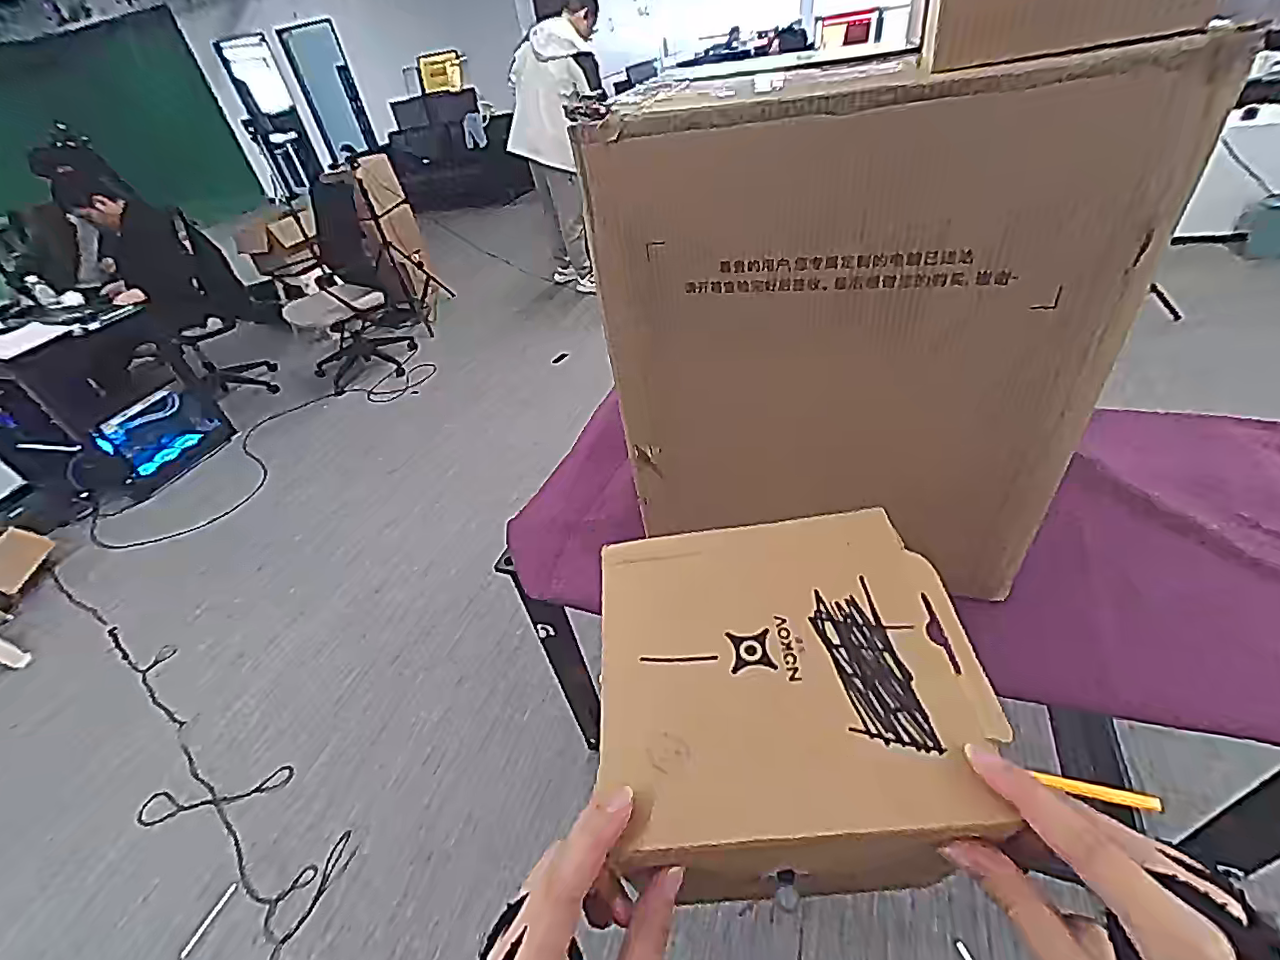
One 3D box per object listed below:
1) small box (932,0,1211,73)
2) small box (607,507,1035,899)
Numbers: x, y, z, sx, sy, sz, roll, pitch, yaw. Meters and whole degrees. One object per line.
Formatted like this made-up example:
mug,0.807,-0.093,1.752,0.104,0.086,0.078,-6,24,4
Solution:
small box,0.329,-0.430,0.409,0.179,0.176,0.168,6,43,20
small box,0.081,0.140,0.330,0.179,0.176,0.168,-8,45,5
